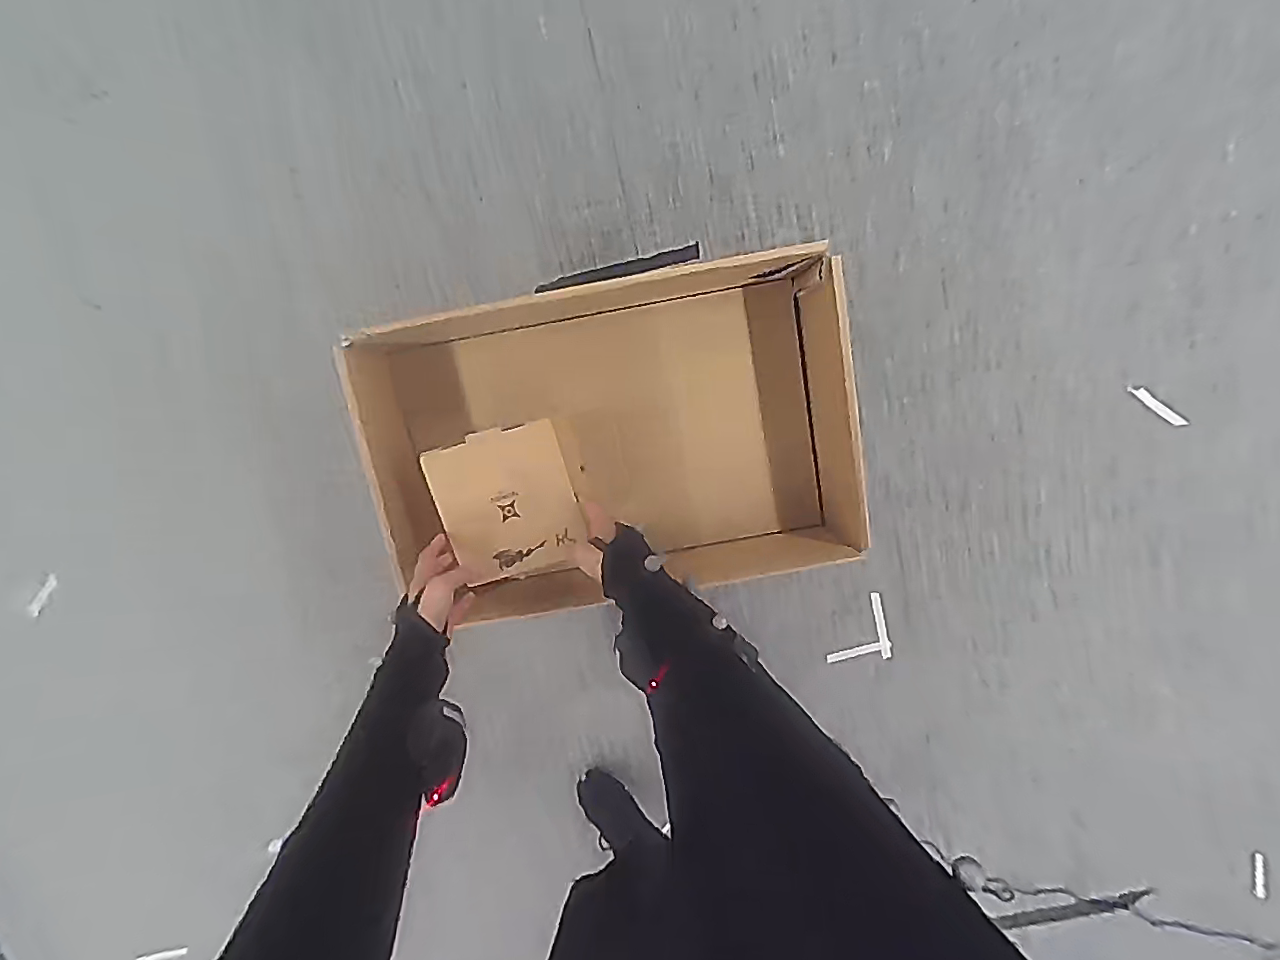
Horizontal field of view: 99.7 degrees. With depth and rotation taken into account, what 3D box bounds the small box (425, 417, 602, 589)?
[{"bbox_3d":[-0.155,0.019,0.725,0.168,0.176,0.179,-16,100,3],"label":"small box"}]
